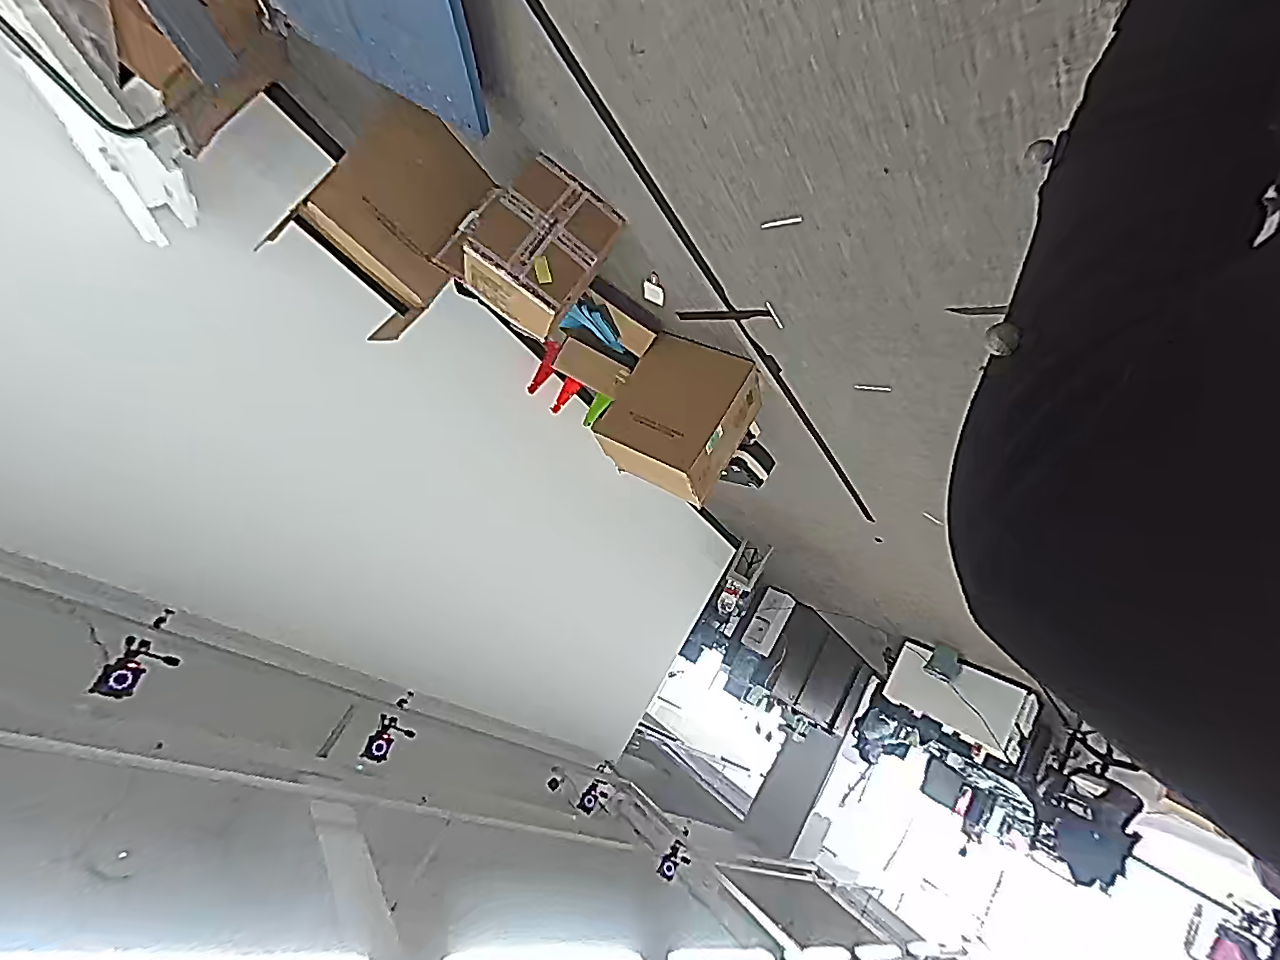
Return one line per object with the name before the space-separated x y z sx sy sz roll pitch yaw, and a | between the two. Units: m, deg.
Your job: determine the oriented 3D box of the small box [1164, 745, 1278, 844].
small box | 1.636 0.884 1.526 0.179 0.176 0.168 21 162 43
